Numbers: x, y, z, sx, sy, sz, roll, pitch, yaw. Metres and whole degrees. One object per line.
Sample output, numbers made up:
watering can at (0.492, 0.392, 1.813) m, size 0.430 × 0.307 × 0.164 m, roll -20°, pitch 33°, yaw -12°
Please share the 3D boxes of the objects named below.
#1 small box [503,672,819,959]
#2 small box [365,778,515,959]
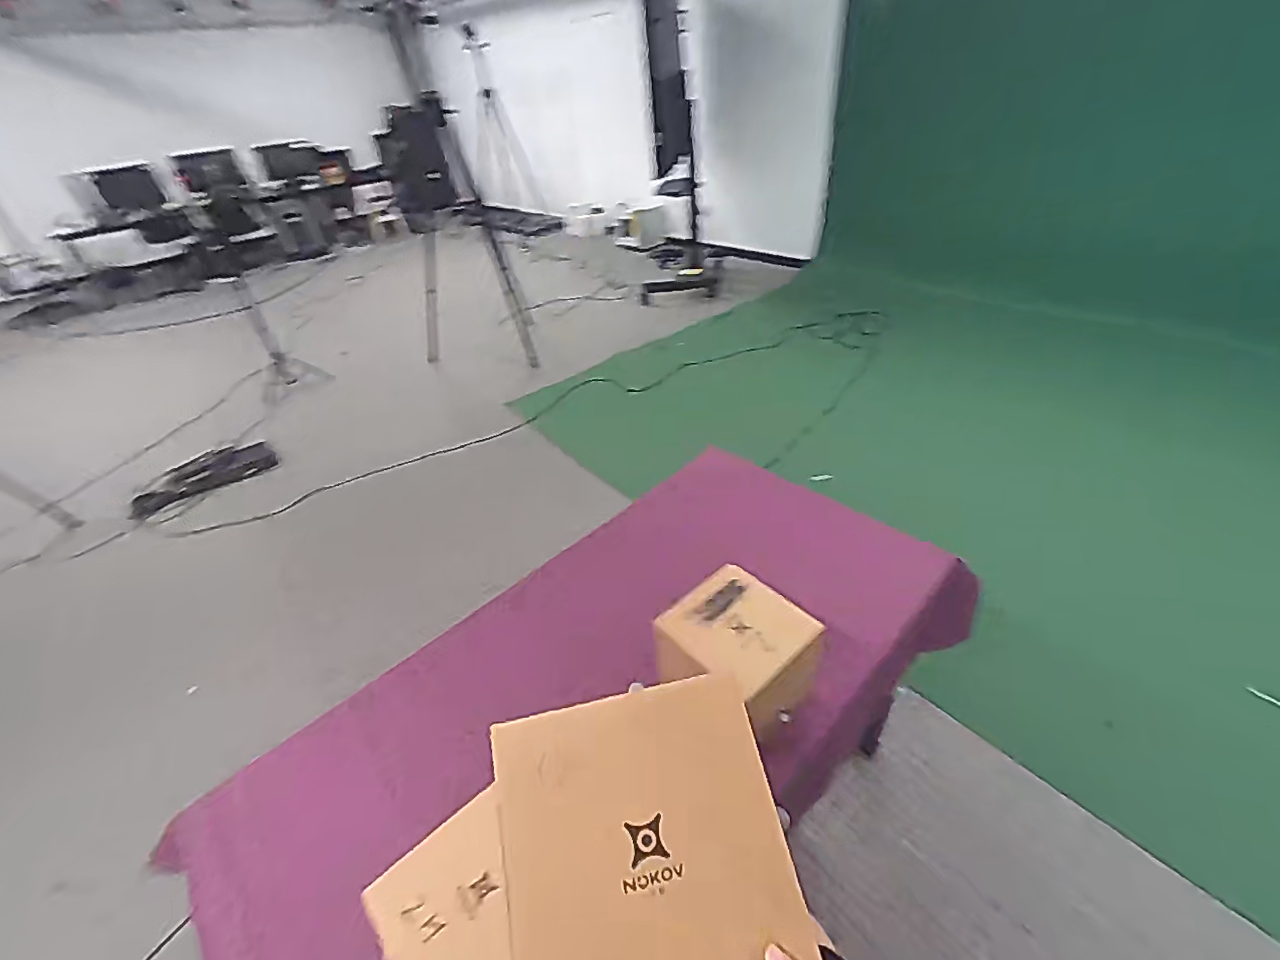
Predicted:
small box at (-0.001, 0.253, 0.384) m, size 0.168 × 0.176 × 0.179 m, roll -8°, pitch 63°, yaw -10°
small box at (-0.156, 0.478, 0.585) m, size 0.179 × 0.176 × 0.168 m, roll -32°, pitch 42°, yaw -29°
